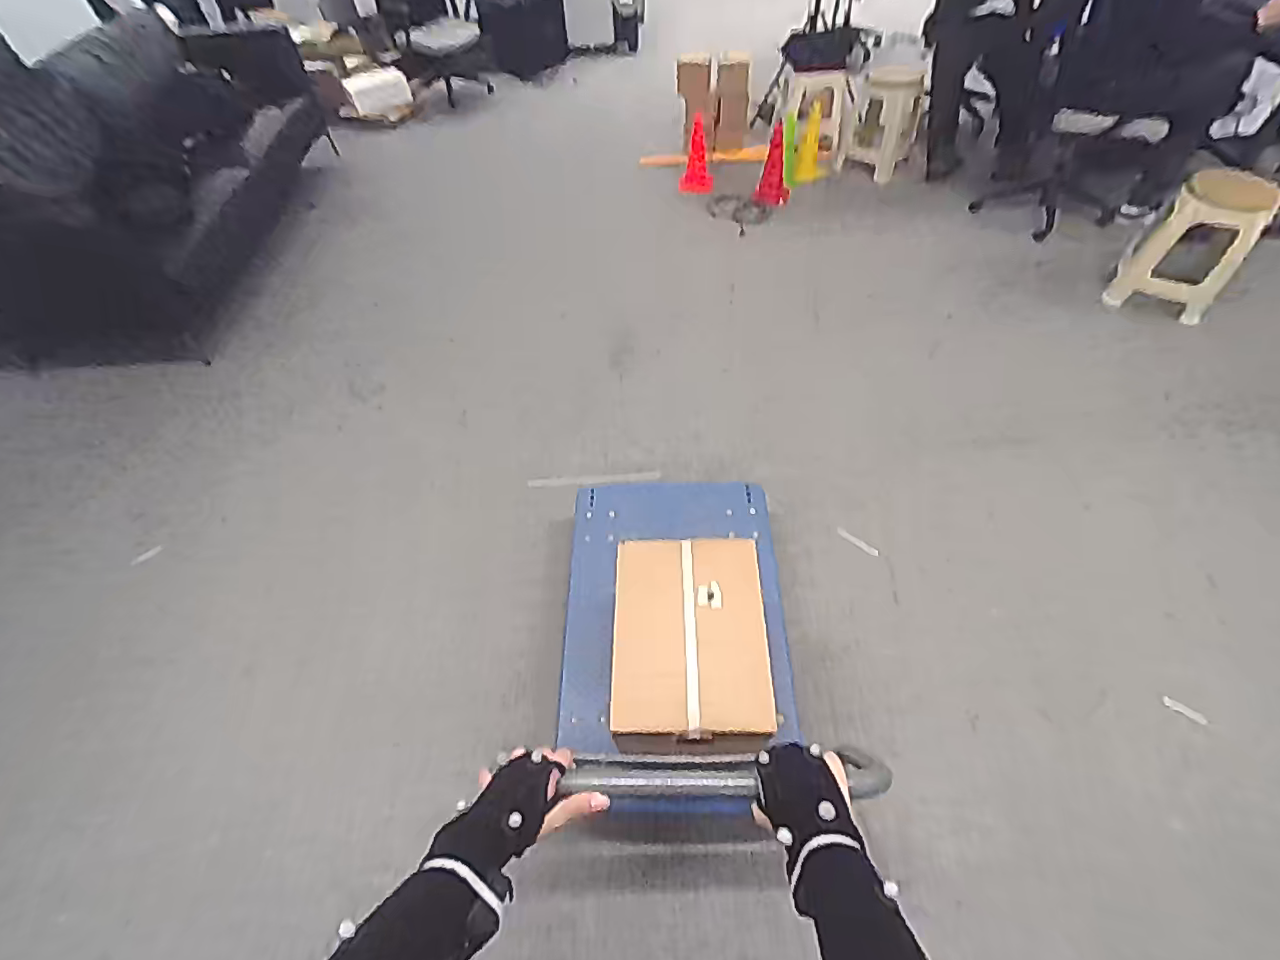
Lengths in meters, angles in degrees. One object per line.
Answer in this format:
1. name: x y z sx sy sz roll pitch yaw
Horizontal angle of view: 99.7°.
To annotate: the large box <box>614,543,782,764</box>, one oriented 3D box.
1. large box: 0.115 0.395 1.223 0.320 0.320 0.408 -1 53 2
